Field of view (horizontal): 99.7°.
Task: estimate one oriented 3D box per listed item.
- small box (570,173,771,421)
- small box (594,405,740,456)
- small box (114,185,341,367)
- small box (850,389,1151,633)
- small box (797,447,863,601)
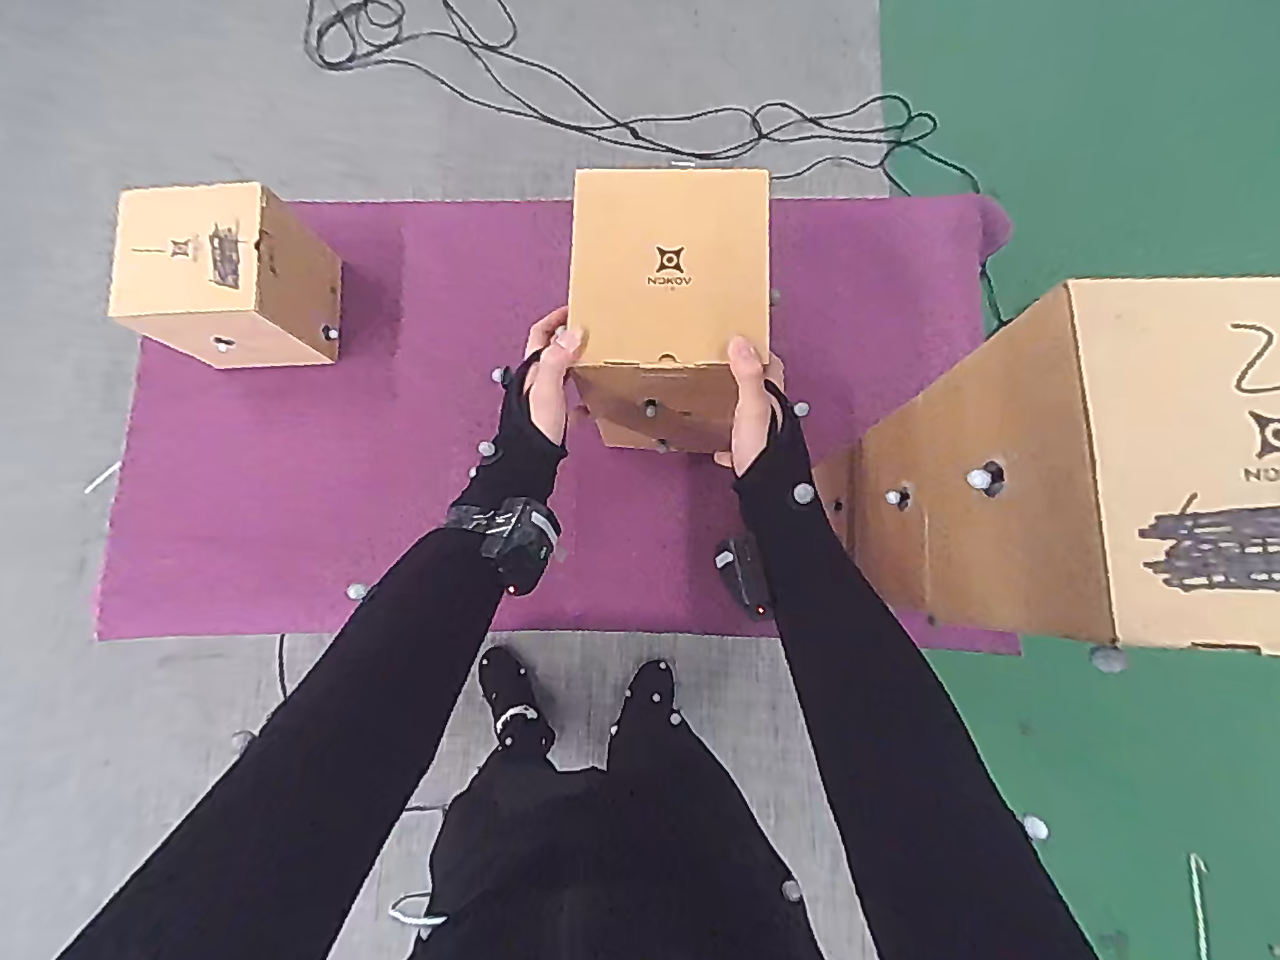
[{"bbox_3d":[0.028,-0.164,0.531,0.168,0.176,0.179,2,83,1],"label":"small box"},{"bbox_3d":[0.038,-0.139,0.689,0.168,0.176,0.179,5,81,2],"label":"small box"},{"bbox_3d":[-0.525,-0.258,0.716,0.179,0.176,0.168,-3,81,1],"label":"small box"},{"bbox_3d":[0.300,0.033,0.489,0.168,0.176,0.179,5,81,4],"label":"small box"},{"bbox_3d":[0.302,0.065,0.650,0.179,0.176,0.168,5,80,2],"label":"small box"}]
